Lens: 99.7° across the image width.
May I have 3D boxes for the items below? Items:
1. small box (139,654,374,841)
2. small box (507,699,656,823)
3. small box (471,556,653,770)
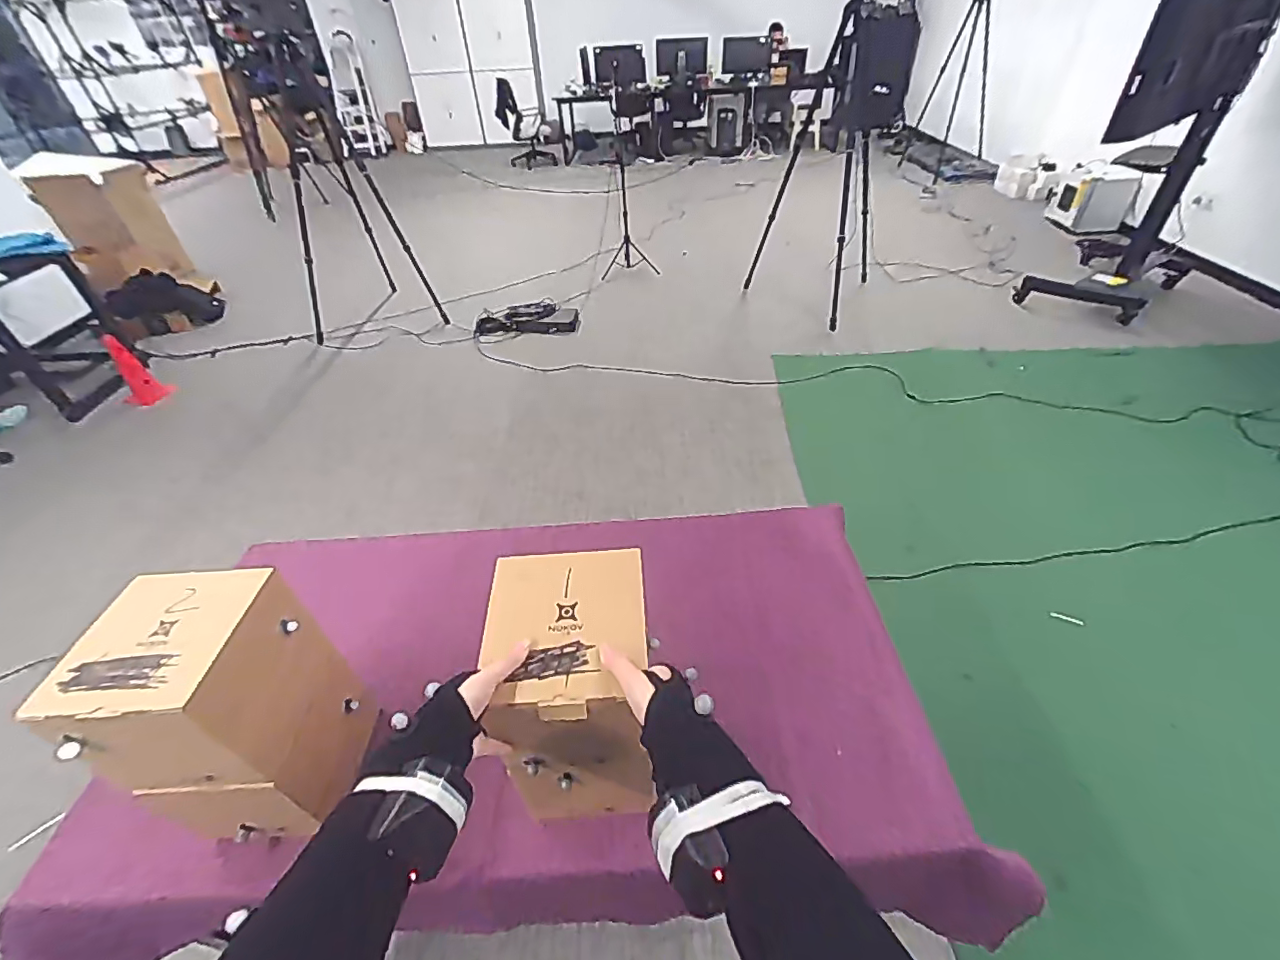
[{"bbox_3d":[-0.486,0.358,0.726,0.168,0.176,0.179,-3,41,2],"label":"small box"},{"bbox_3d":[-0.066,0.330,0.720,0.168,0.176,0.179,-4,42,1],"label":"small box"},{"bbox_3d":[-0.073,0.209,0.608,0.168,0.176,0.179,-4,43,0],"label":"small box"}]
